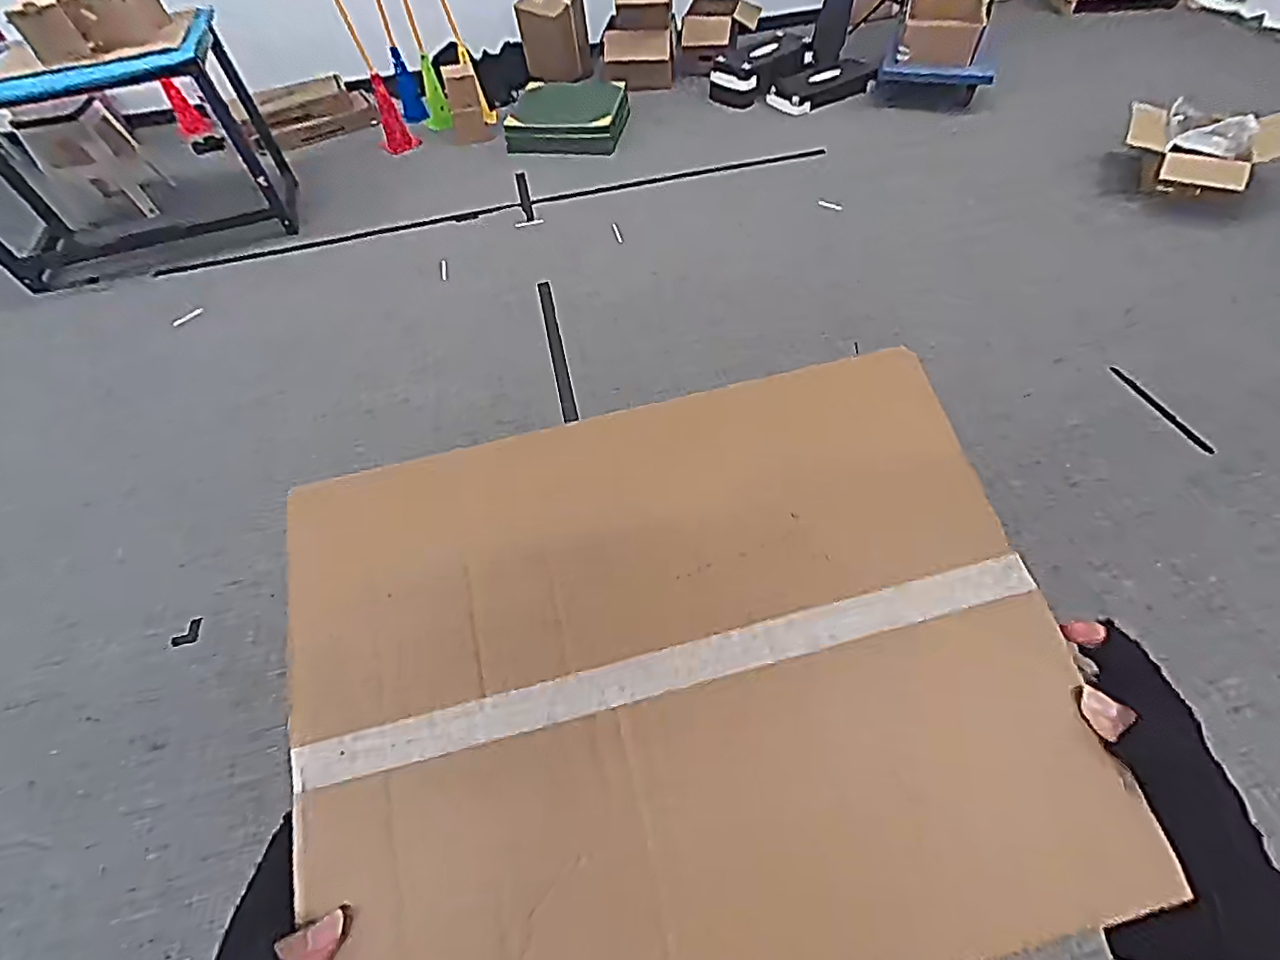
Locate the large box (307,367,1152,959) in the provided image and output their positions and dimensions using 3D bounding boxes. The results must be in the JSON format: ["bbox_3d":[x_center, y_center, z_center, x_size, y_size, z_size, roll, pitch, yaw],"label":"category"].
[{"bbox_3d":[0.027,0.161,0.437,0.408,0.320,0.320,-14,69,-3],"label":"large box"}]
